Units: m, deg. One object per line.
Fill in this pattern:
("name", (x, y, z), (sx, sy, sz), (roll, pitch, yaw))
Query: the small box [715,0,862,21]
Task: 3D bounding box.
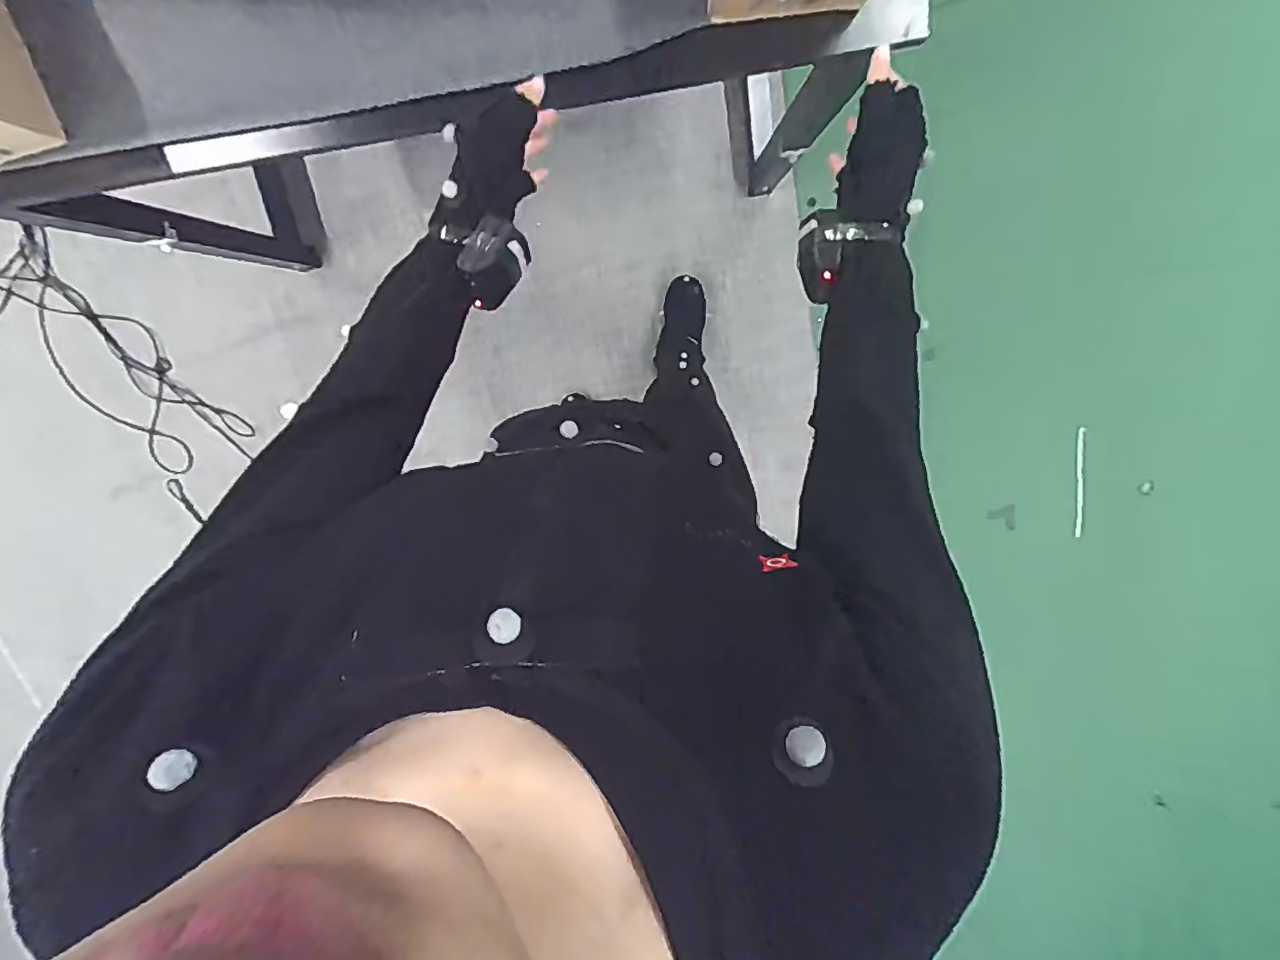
("small box", (0.151, -0.561, 0.482), (0.168, 0.176, 0.179), (-3, 108, 3))
